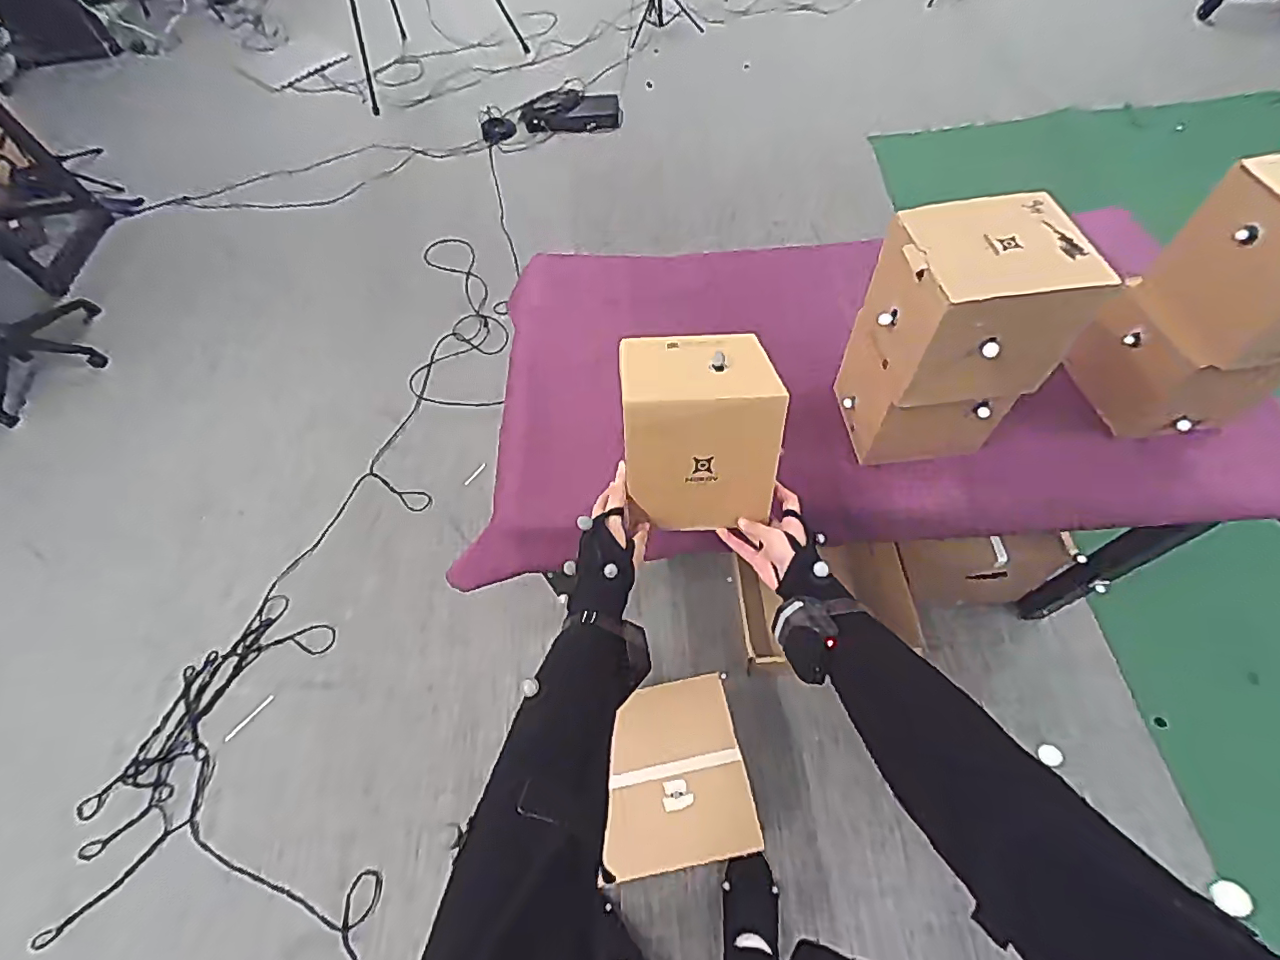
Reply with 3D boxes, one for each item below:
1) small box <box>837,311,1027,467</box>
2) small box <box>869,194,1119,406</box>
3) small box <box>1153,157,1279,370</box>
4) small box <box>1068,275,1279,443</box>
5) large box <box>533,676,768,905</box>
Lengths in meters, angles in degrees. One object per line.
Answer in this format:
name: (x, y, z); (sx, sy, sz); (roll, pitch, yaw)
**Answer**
small box: (0.411, -0.135, 0.793); (0.179, 0.176, 0.168); (-6, 57, 3)
small box: (0.391, -0.205, 0.645); (0.179, 0.176, 0.168); (-7, 57, 3)
small box: (0.774, -0.255, 0.630); (0.168, 0.176, 0.179); (-8, 57, 4)
small box: (0.775, -0.178, 0.775); (0.168, 0.176, 0.179); (-8, 57, 3)
large box: (0.017, 0.648, 1.145); (0.408, 0.320, 0.320); (-12, 58, -1)
